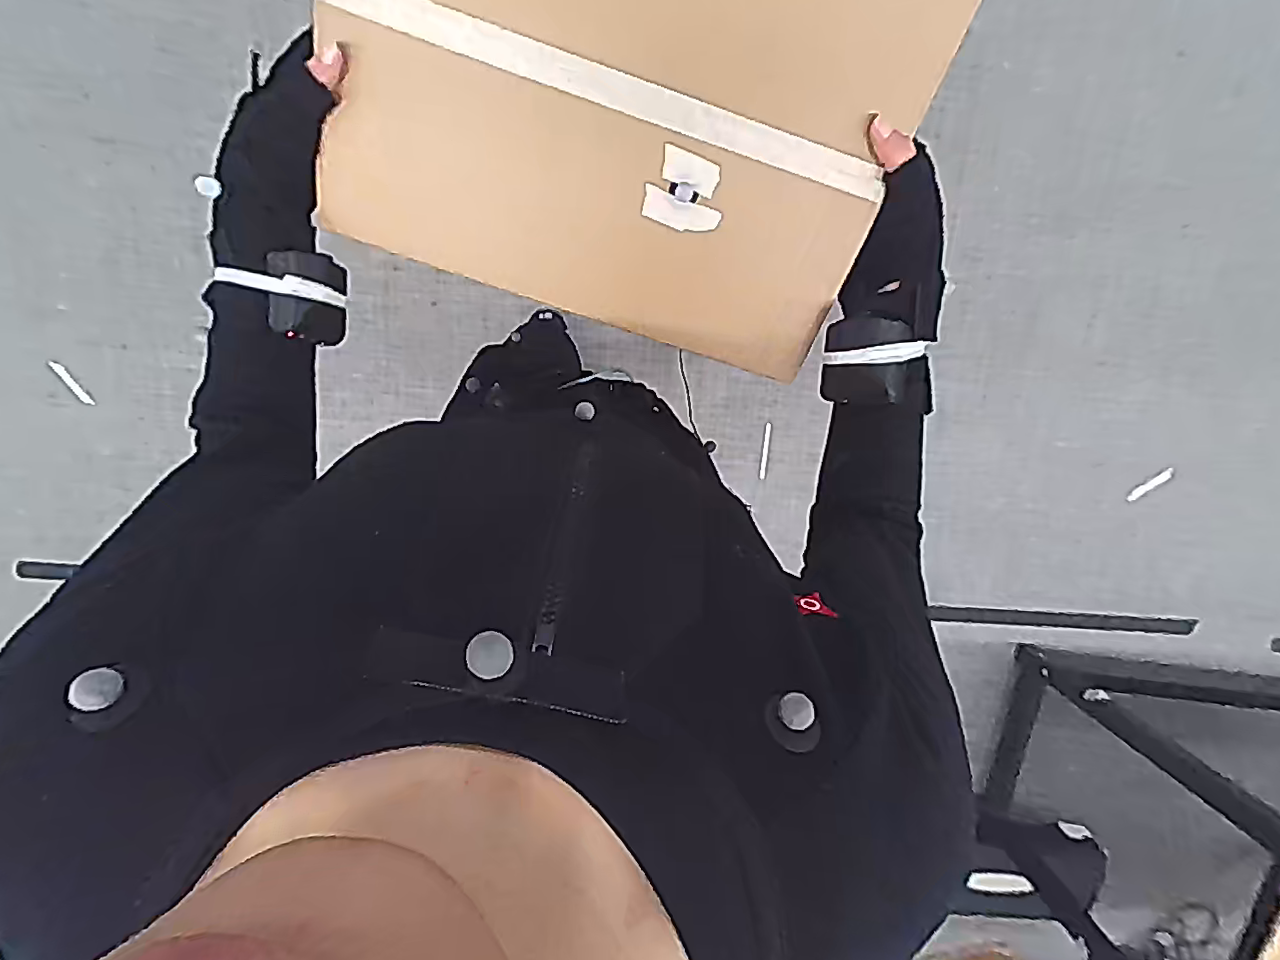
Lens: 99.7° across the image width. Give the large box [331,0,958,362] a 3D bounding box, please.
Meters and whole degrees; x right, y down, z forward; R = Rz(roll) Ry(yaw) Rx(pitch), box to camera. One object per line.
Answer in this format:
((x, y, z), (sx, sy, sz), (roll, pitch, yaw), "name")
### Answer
((-0.008, -0.353, 0.505), (0.408, 0.320, 0.320), (16, 122, -6), "large box")
